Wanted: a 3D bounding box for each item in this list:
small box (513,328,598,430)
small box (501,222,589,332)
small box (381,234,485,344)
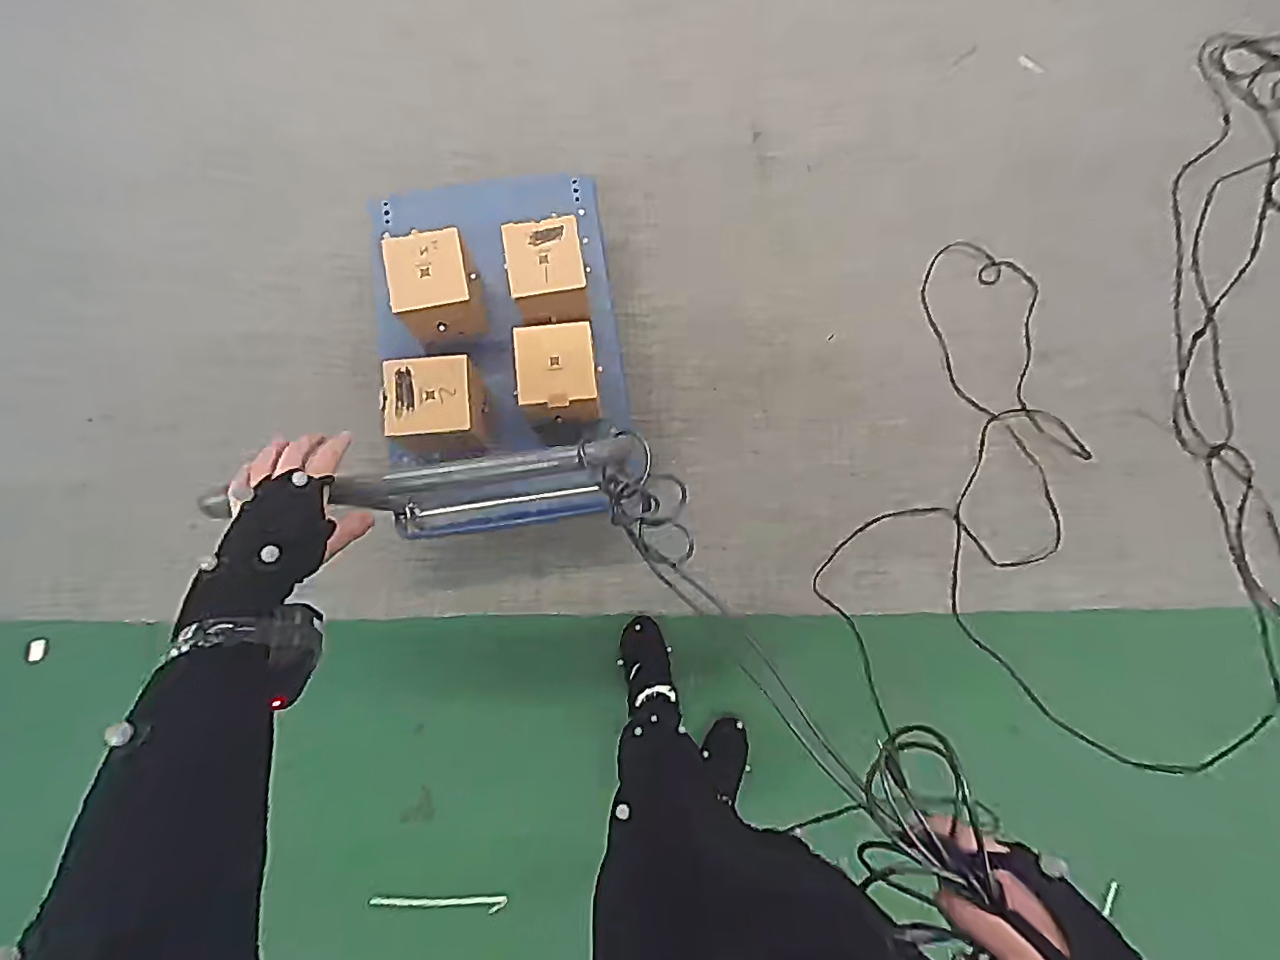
[{"bbox_3d":[-0.185,-0.223,1.221,0.168,0.176,0.179,-6,82,-2],"label":"small box"},{"bbox_3d":[-0.215,-0.464,1.257,0.168,0.176,0.179,-10,82,-2],"label":"small box"},{"bbox_3d":[-0.468,-0.428,1.245,0.168,0.176,0.179,-11,81,-4],"label":"small box"}]
